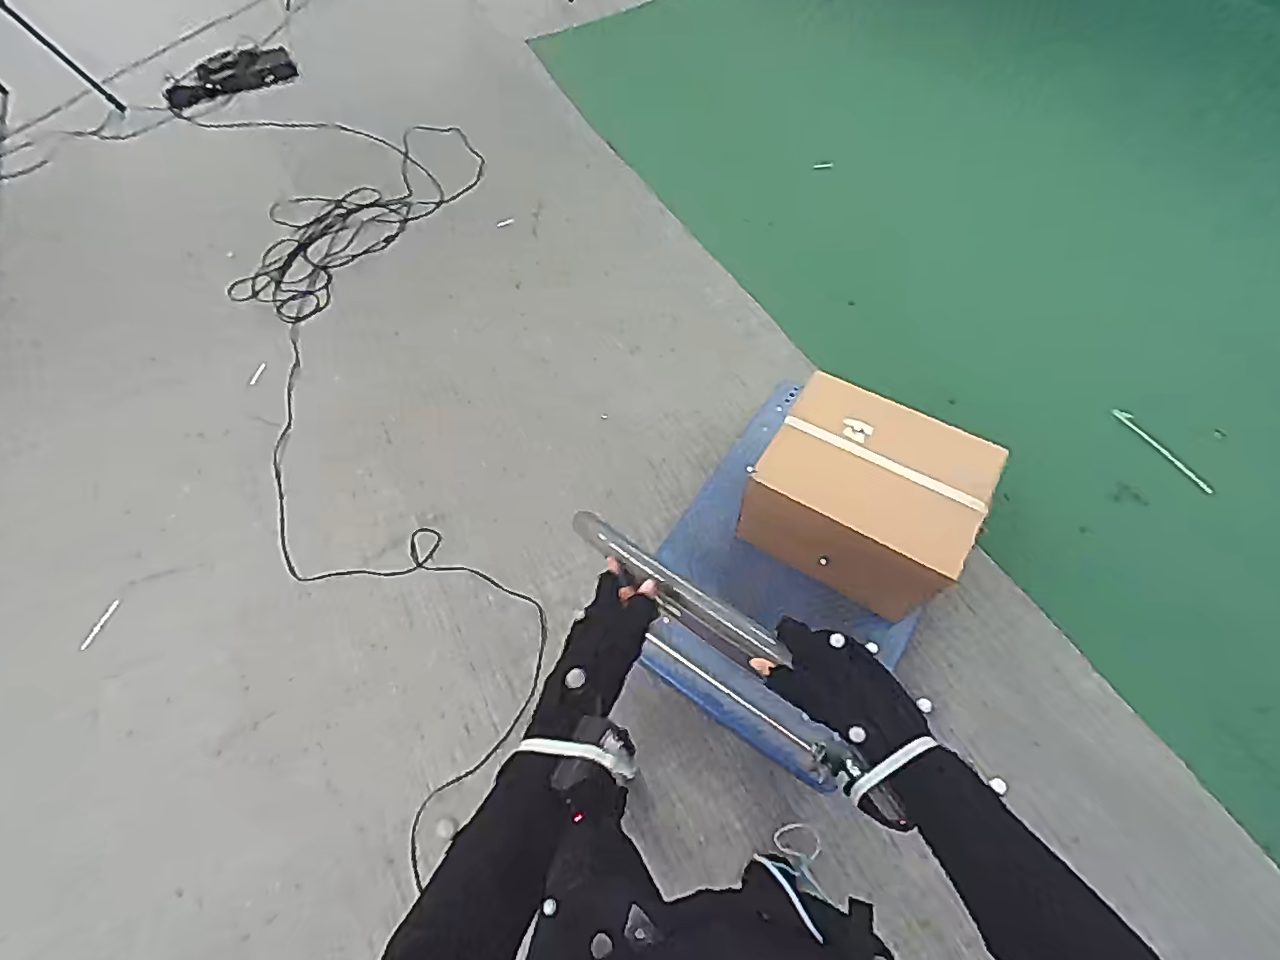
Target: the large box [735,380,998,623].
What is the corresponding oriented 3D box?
[{"bbox_3d":[0.465,0.053,1.188,0.408,0.320,0.320,29,67,20],"label":"large box"}]
